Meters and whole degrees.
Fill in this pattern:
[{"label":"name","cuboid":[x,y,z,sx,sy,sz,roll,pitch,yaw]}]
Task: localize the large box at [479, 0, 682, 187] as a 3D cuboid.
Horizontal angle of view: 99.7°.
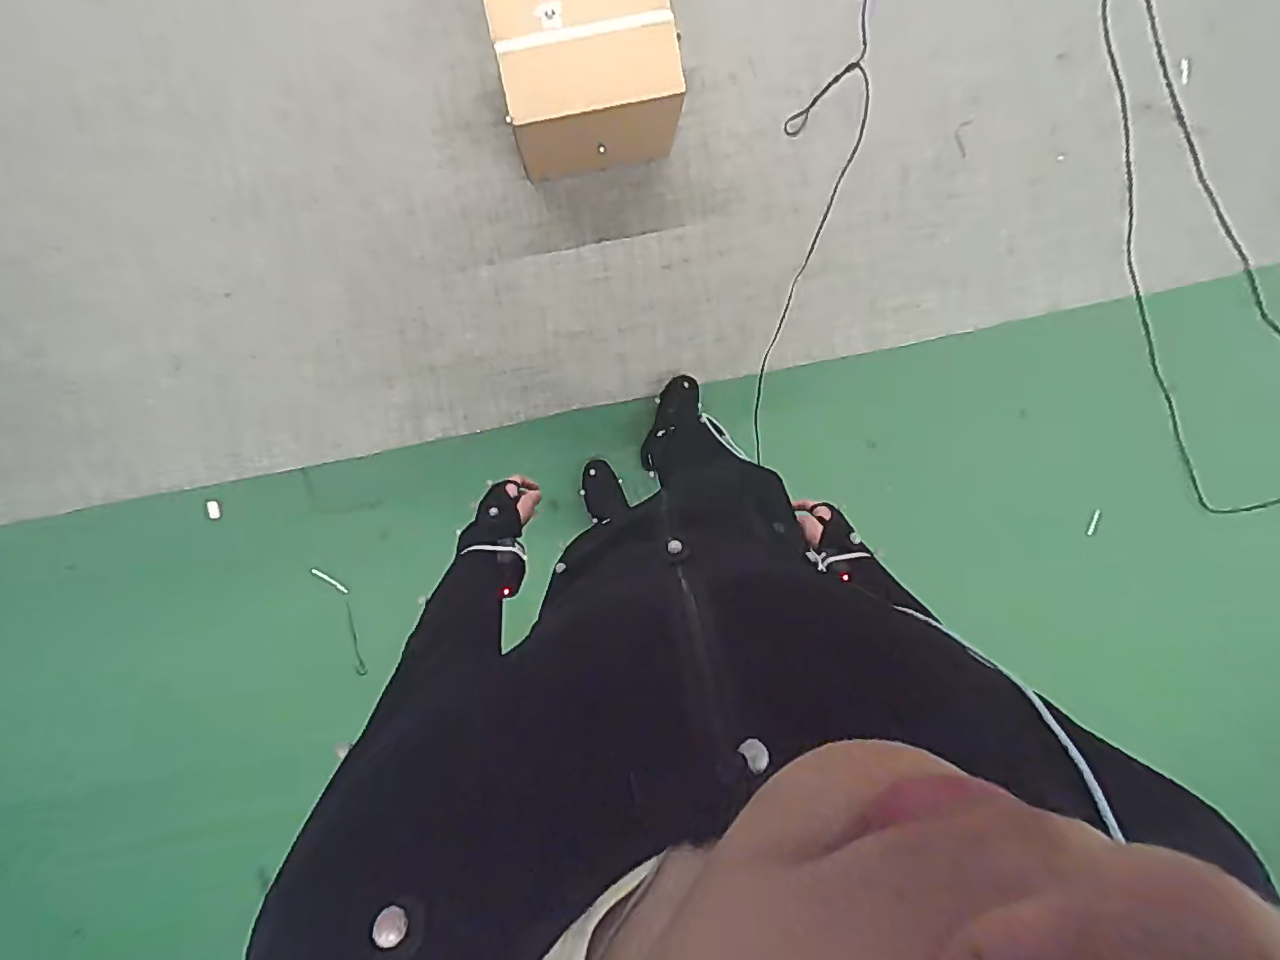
[{"label":"large box","cuboid":[-0.135,-0.995,1.360,0.408,0.320,0.320,-14,97,-1]}]
